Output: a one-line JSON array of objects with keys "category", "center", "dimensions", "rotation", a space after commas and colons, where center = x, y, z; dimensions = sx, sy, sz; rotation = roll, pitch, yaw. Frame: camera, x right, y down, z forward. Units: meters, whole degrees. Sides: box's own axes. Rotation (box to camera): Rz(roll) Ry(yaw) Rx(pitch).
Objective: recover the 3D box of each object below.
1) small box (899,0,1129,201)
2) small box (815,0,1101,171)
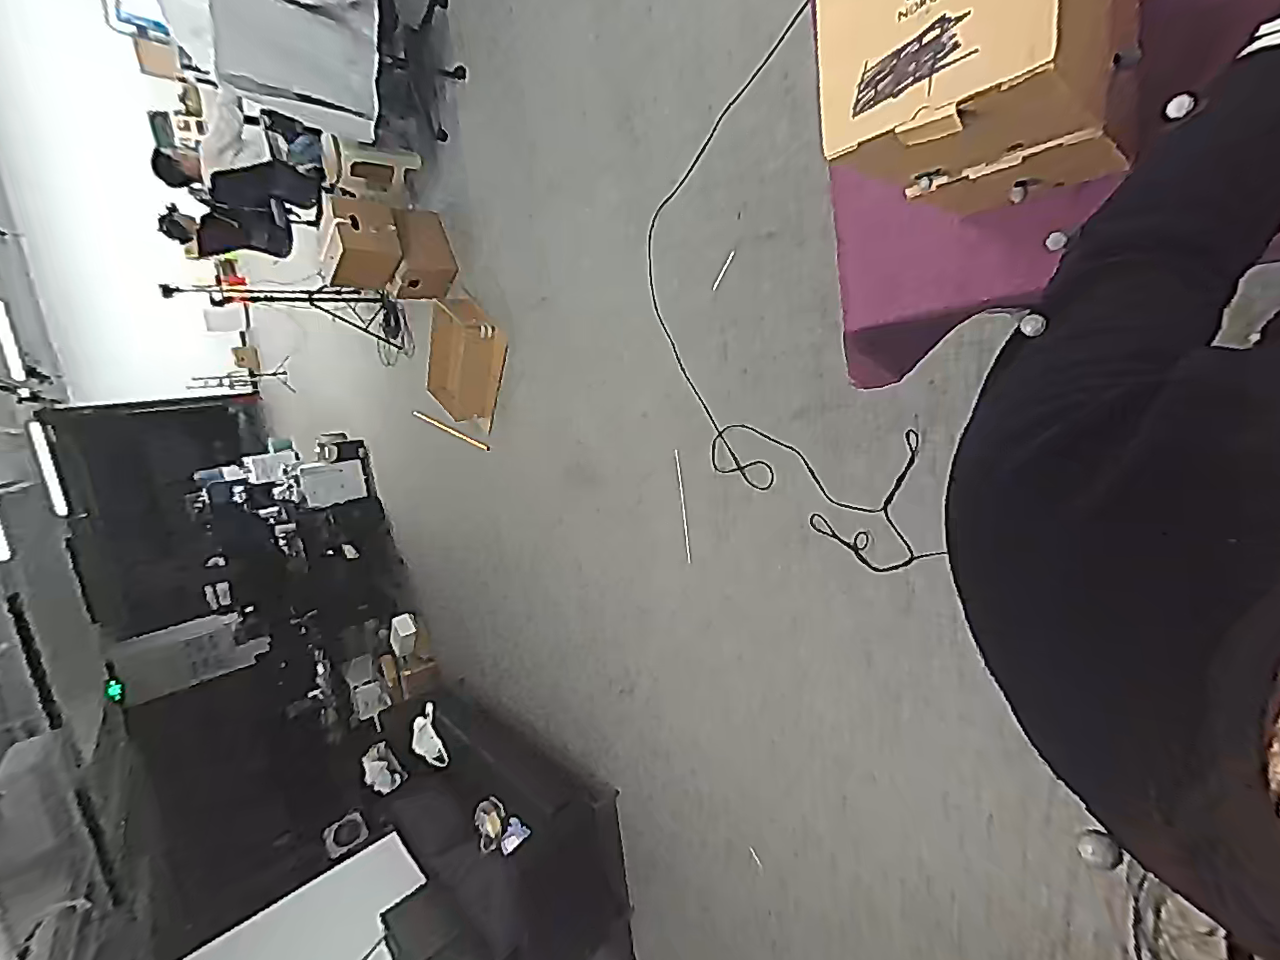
[{"category": "small box", "center": [0.382, -0.404, 0.557], "dimensions": [0.168, 0.176, 0.179], "rotation": [5, 106, 47]}, {"category": "small box", "center": [0.263, -0.377, 0.446], "dimensions": [0.168, 0.176, 0.179], "rotation": [6, 105, 47]}]
